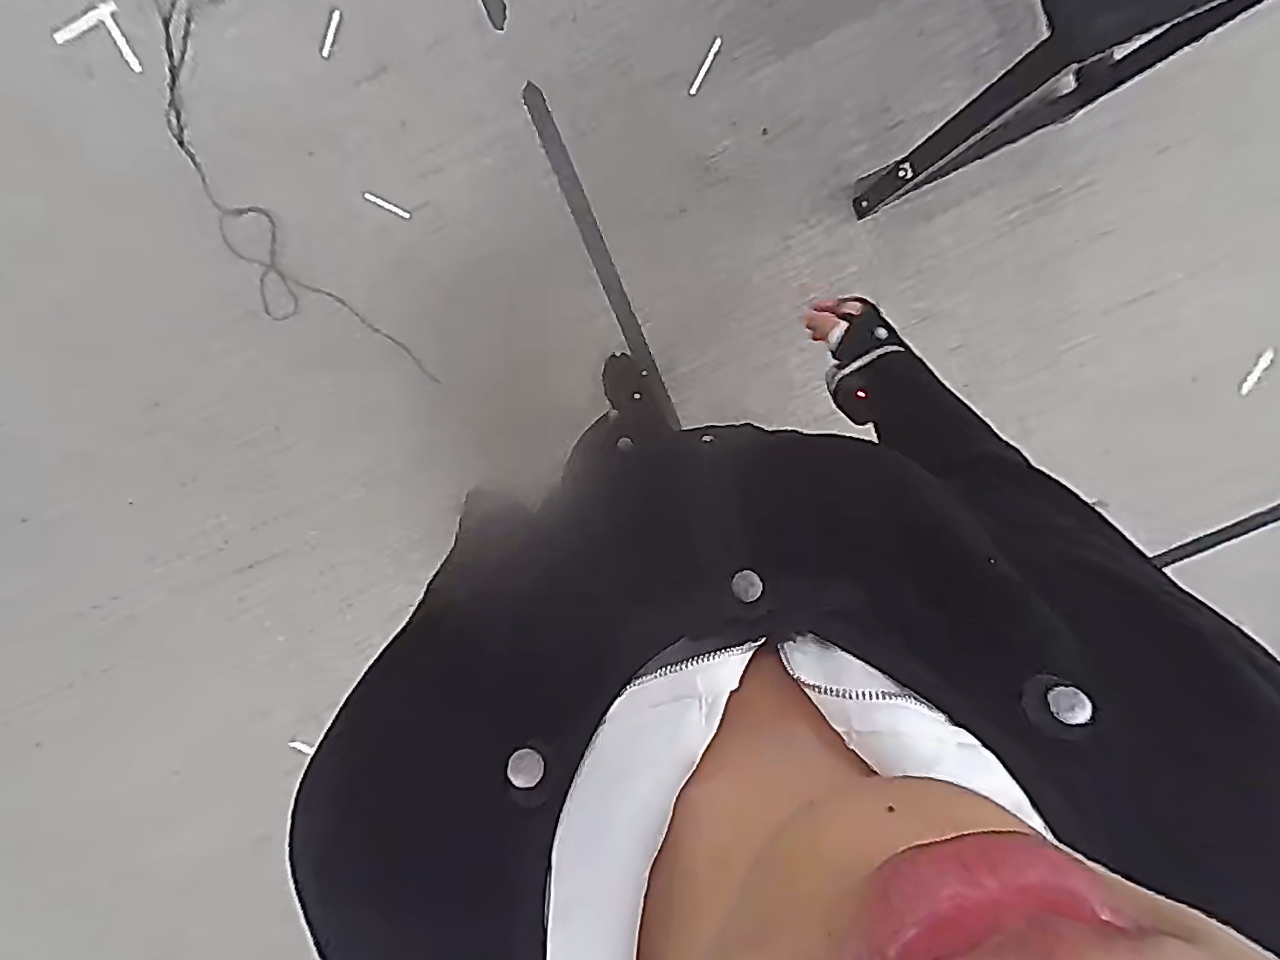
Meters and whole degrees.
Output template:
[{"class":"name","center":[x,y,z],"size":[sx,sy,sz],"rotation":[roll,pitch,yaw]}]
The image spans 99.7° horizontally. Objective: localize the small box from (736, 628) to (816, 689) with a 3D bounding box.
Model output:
[{"class":"small box","center":[0.355,0.502,1.347],"size":[0.168,0.176,0.179],"rotation":[-24,99,3]}]

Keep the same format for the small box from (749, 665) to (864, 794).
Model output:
[{"class":"small box","center":[0.355,0.534,1.188],"size":[0.168,0.176,0.179],"rotation":[-24,100,5]}]

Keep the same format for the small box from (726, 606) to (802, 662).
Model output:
[{"class":"small box","center":[0.358,0.477,1.510],"size":[0.179,0.176,0.168],"rotation":[-23,99,4]}]
